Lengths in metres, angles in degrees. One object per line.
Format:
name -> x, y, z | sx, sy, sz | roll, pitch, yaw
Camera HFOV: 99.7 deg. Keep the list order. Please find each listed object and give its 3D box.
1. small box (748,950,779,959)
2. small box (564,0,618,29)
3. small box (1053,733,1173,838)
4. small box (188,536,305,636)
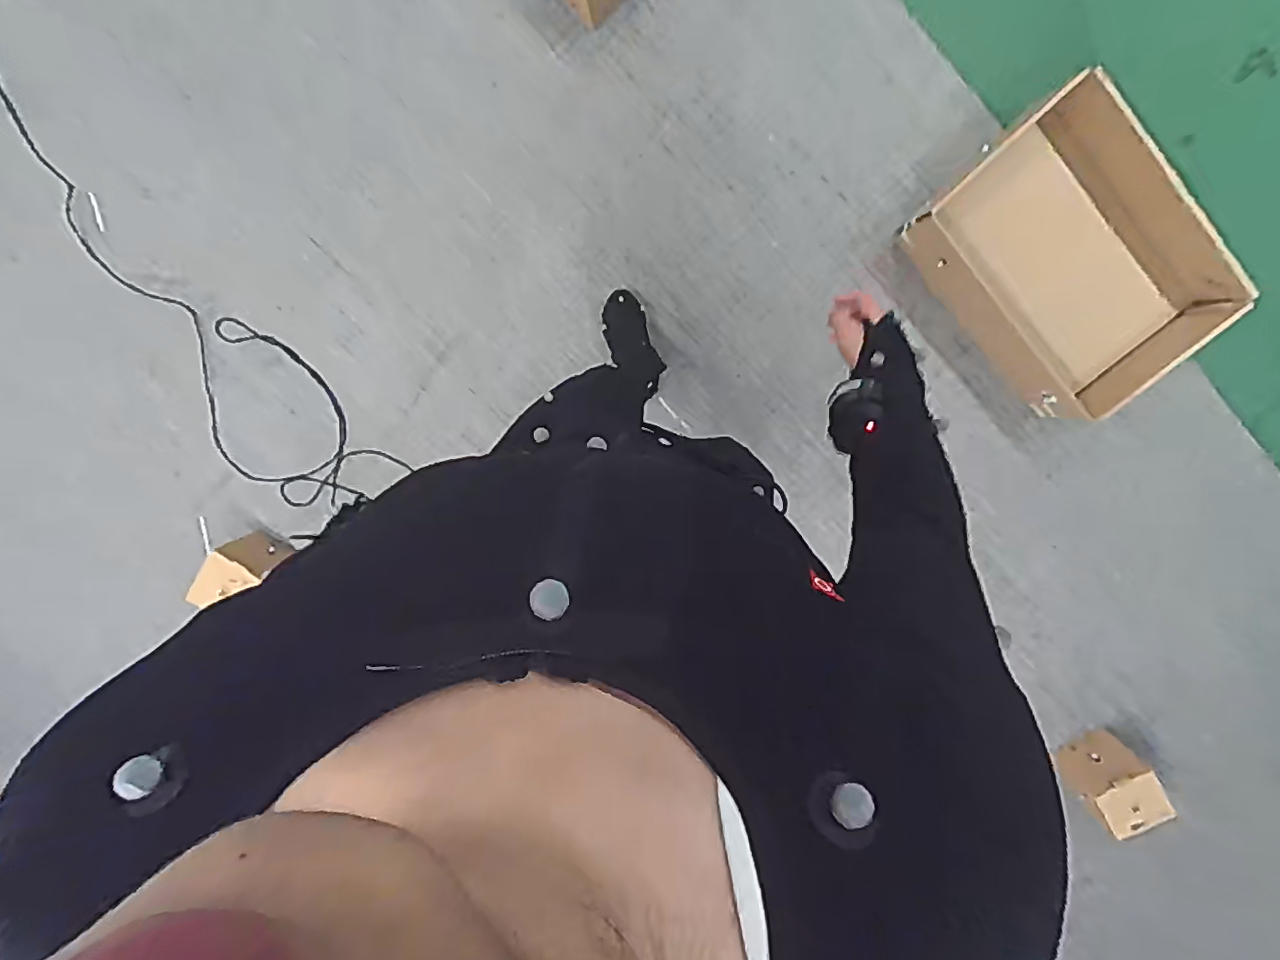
small box -> 0.430, 1.731, 1.796 | 0.179, 0.176, 0.168 | 45, 100, -7
small box -> -0.107, -1.104, 1.113 | 0.179, 0.176, 0.168 | -43, 98, 12
small box -> 1.333, 0.856, 1.538 | 0.168, 0.176, 0.179 | -32, 100, 9
small box -> -1.078, 0.287, 1.496 | 0.168, 0.176, 0.179 | 35, 102, -6
